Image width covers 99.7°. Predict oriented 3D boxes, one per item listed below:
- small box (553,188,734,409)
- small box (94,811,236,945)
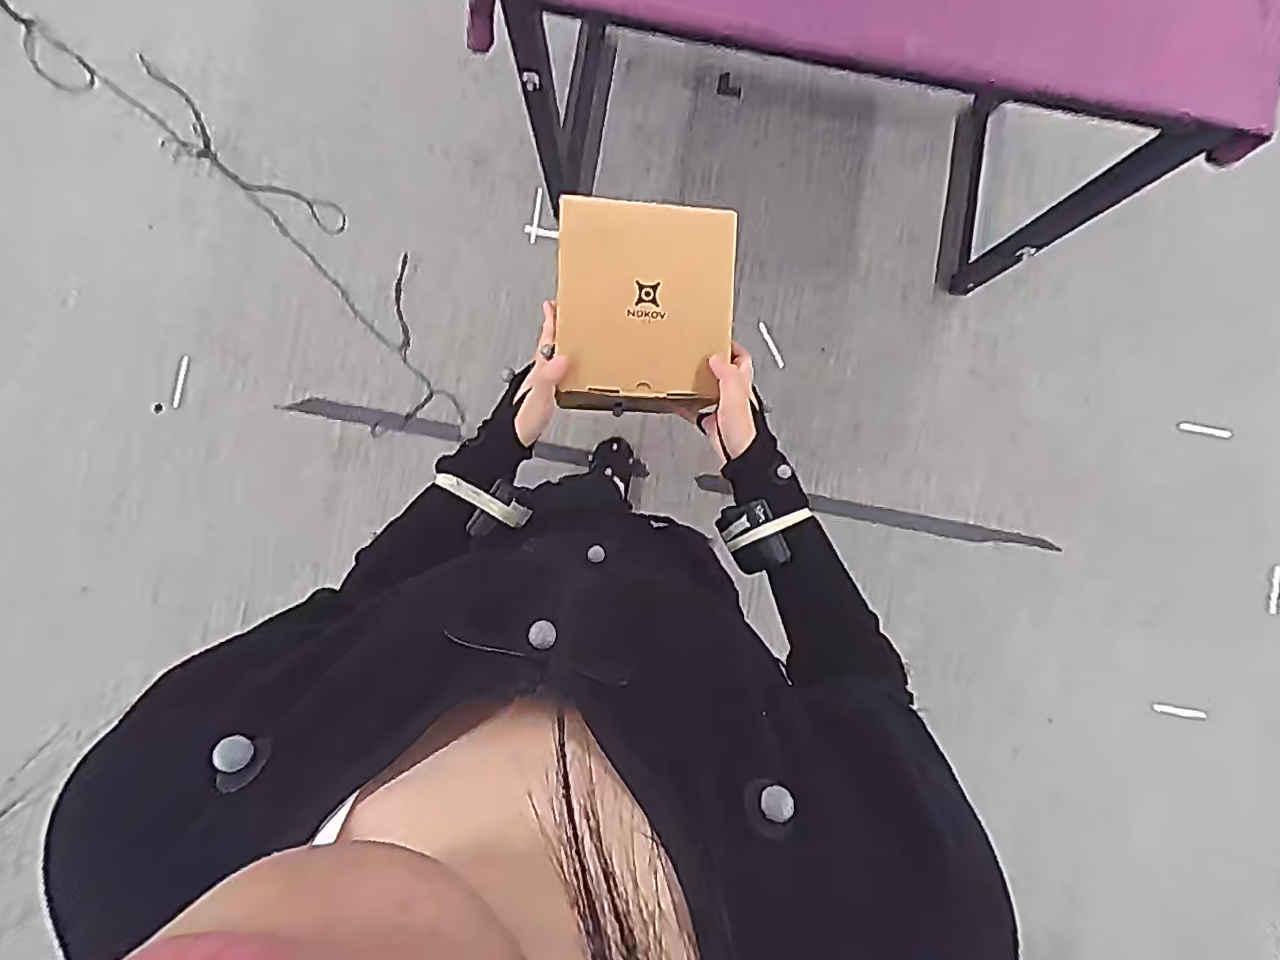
[{"bbox_3d":[-0.007,-0.175,0.576,0.168,0.176,0.179,2,93,-8],"label":"small box"},{"bbox_3d":[-1.189,0.995,1.368,0.179,0.176,0.168,-36,89,-2],"label":"small box"}]
